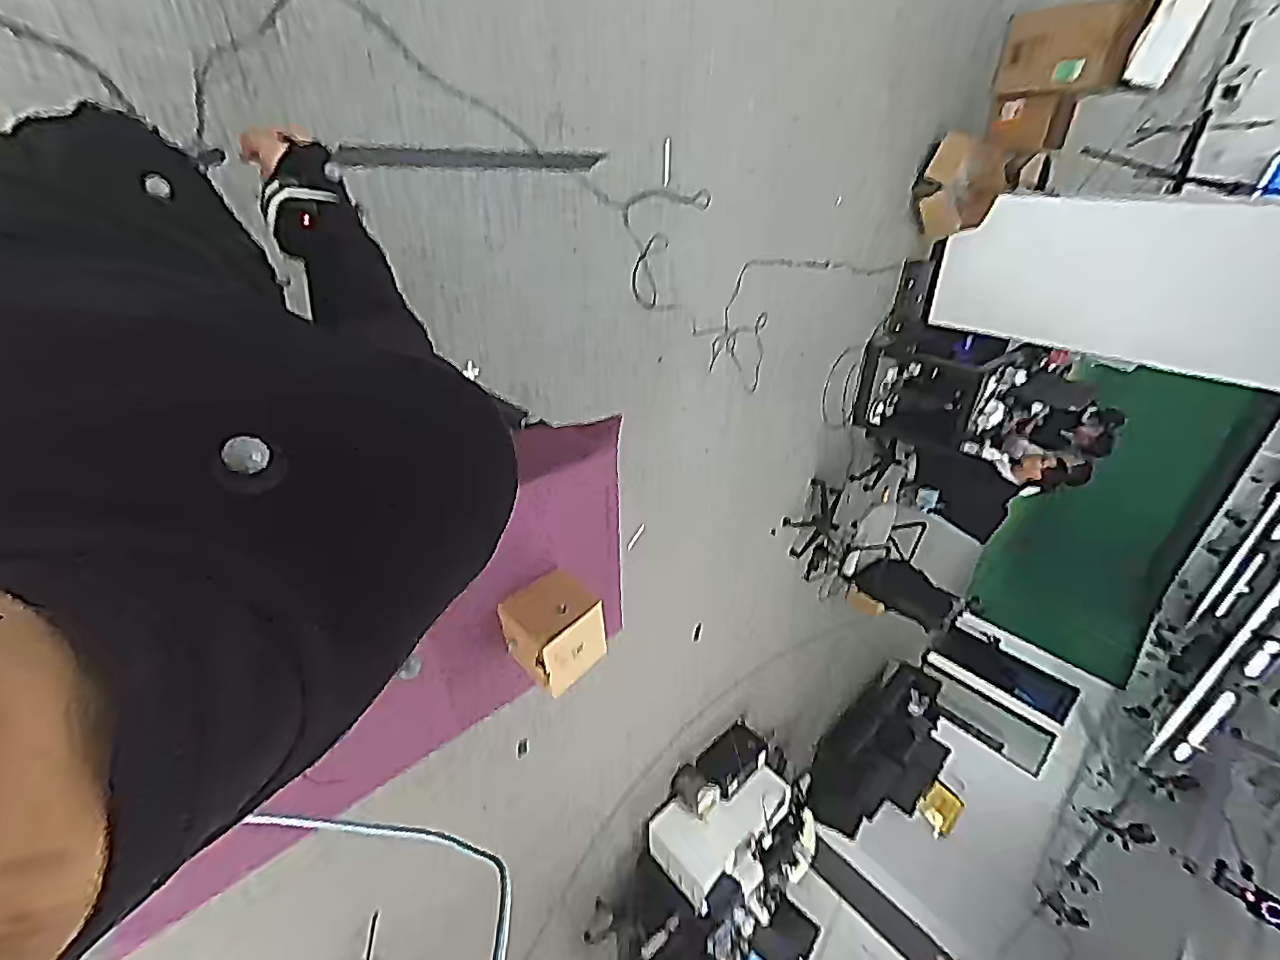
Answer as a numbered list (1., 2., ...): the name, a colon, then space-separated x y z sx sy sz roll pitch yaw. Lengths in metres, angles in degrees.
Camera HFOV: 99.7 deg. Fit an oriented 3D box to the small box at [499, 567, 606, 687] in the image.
1. small box: -0.202 0.334 1.264 0.179 0.176 0.168 -28 129 -33
